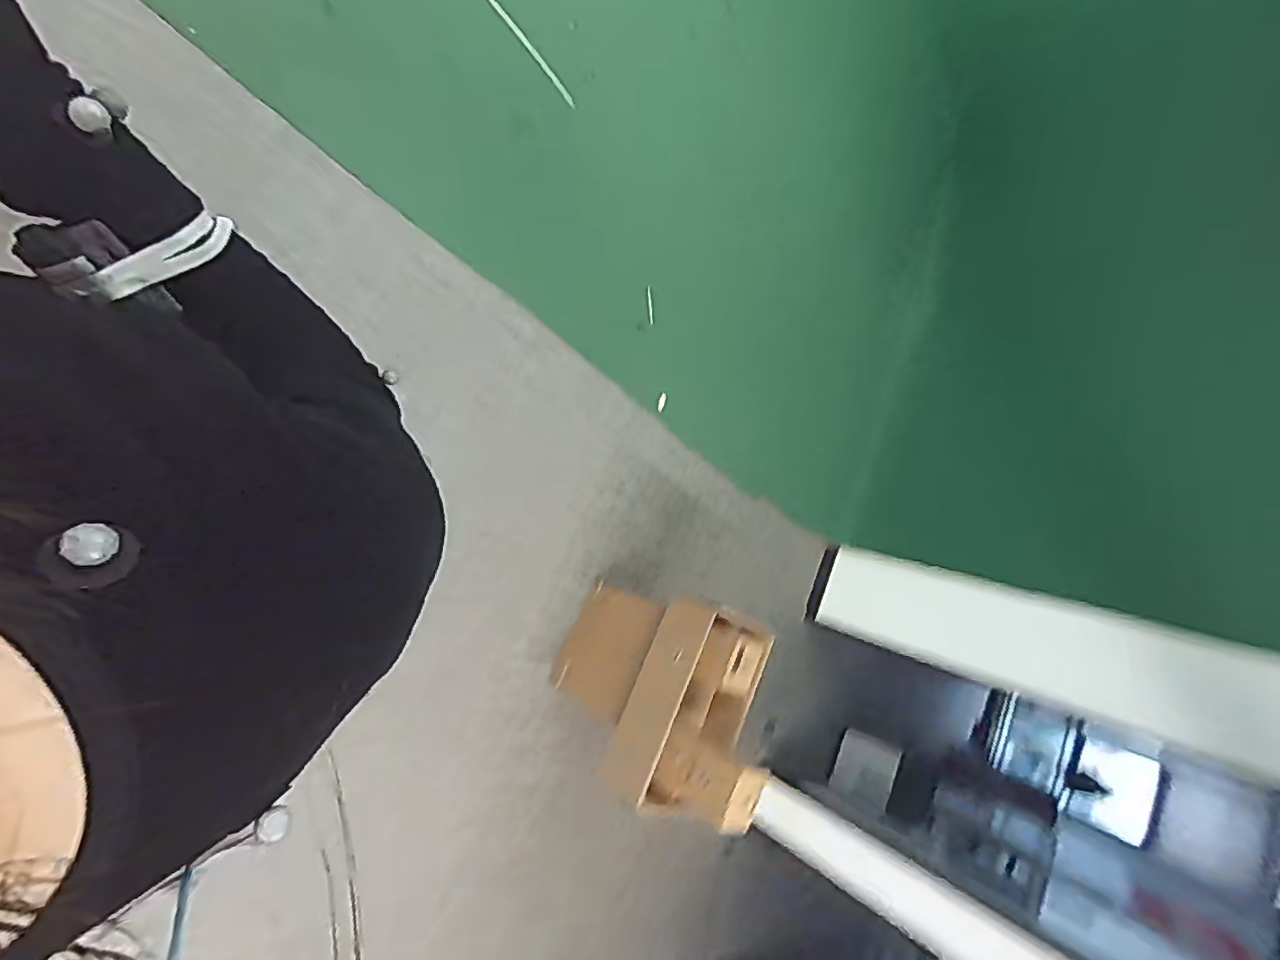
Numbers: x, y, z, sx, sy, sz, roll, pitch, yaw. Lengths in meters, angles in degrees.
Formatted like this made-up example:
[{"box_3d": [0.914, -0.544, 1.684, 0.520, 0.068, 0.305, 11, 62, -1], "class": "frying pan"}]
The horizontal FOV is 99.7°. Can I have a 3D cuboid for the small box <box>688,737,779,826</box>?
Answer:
[{"box_3d": [0.269, 0.875, 1.576, 0.179, 0.176, 0.168, 36, 75, -41], "class": "small box"}]
